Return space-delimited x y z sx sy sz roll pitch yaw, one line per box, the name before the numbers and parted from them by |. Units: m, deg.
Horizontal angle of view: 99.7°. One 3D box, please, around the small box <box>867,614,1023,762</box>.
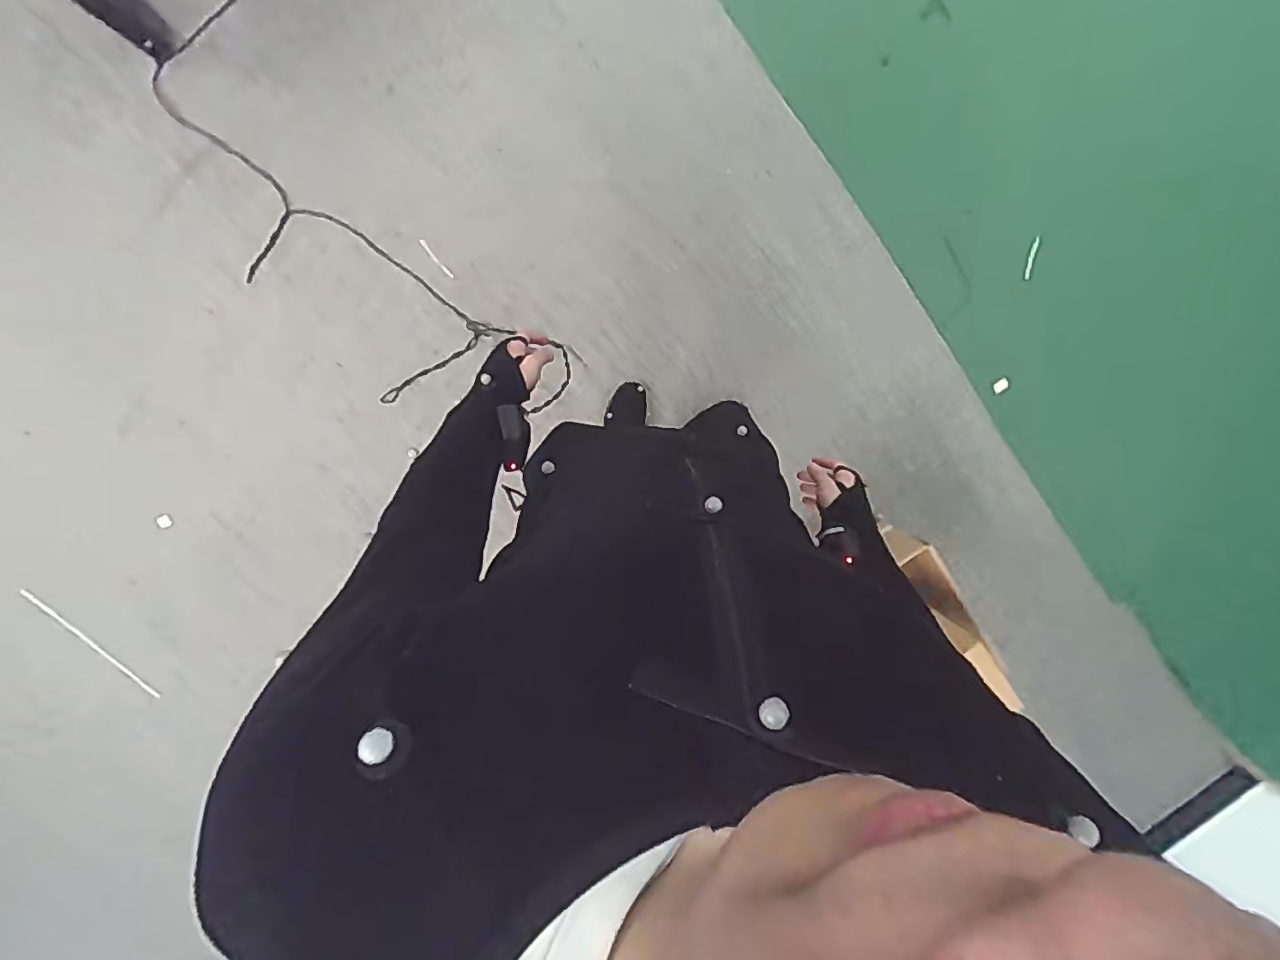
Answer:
small box | 0.592 0.400 1.068 0.168 0.176 0.179 -37 101 2
